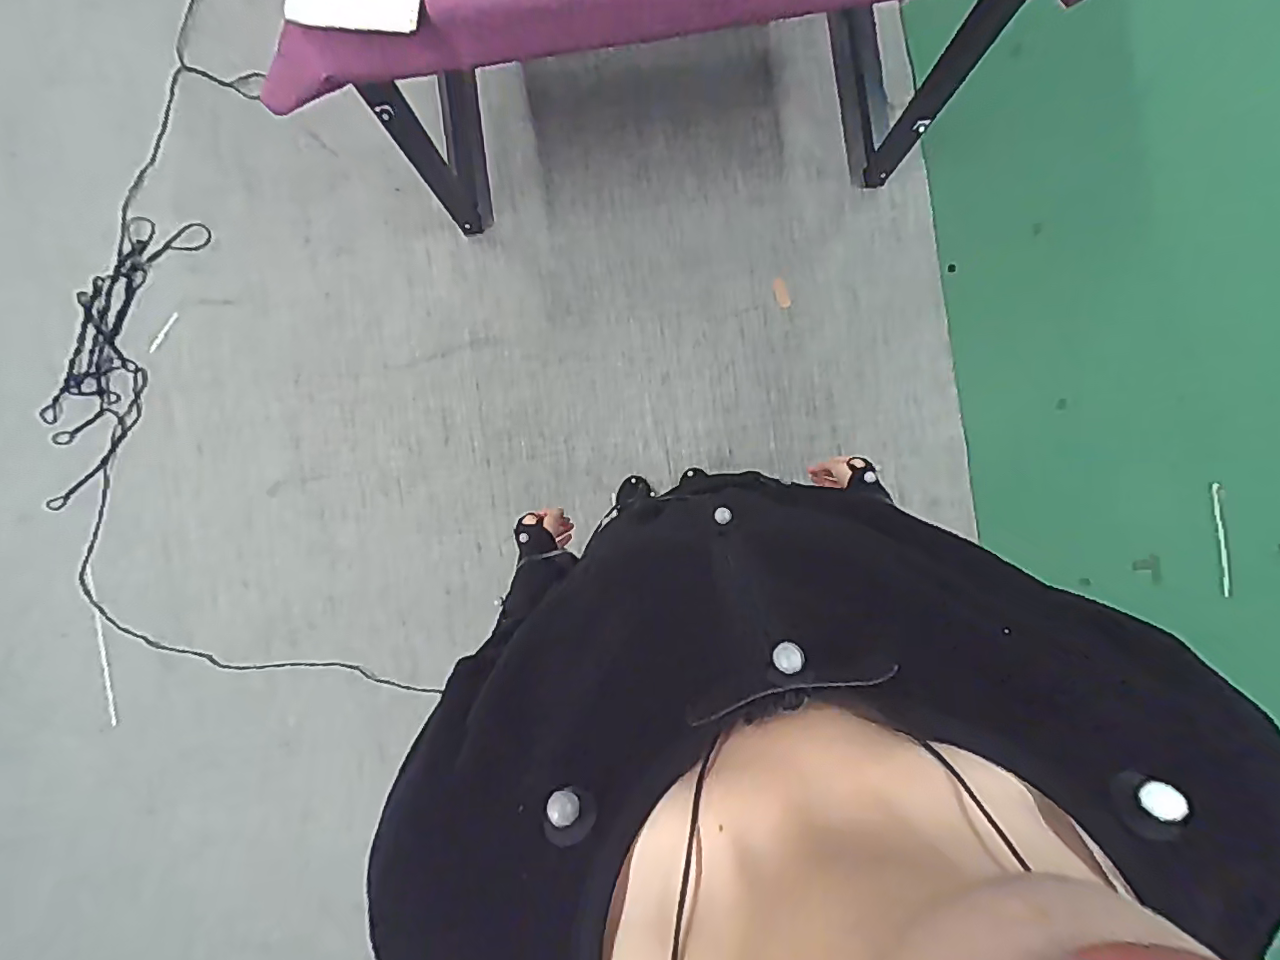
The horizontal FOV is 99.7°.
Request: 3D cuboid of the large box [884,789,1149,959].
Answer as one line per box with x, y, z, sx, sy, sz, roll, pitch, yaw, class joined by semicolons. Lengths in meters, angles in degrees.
0.905;1.057;1.337;0.408;0.320;0.320;-22;90;0;large box
